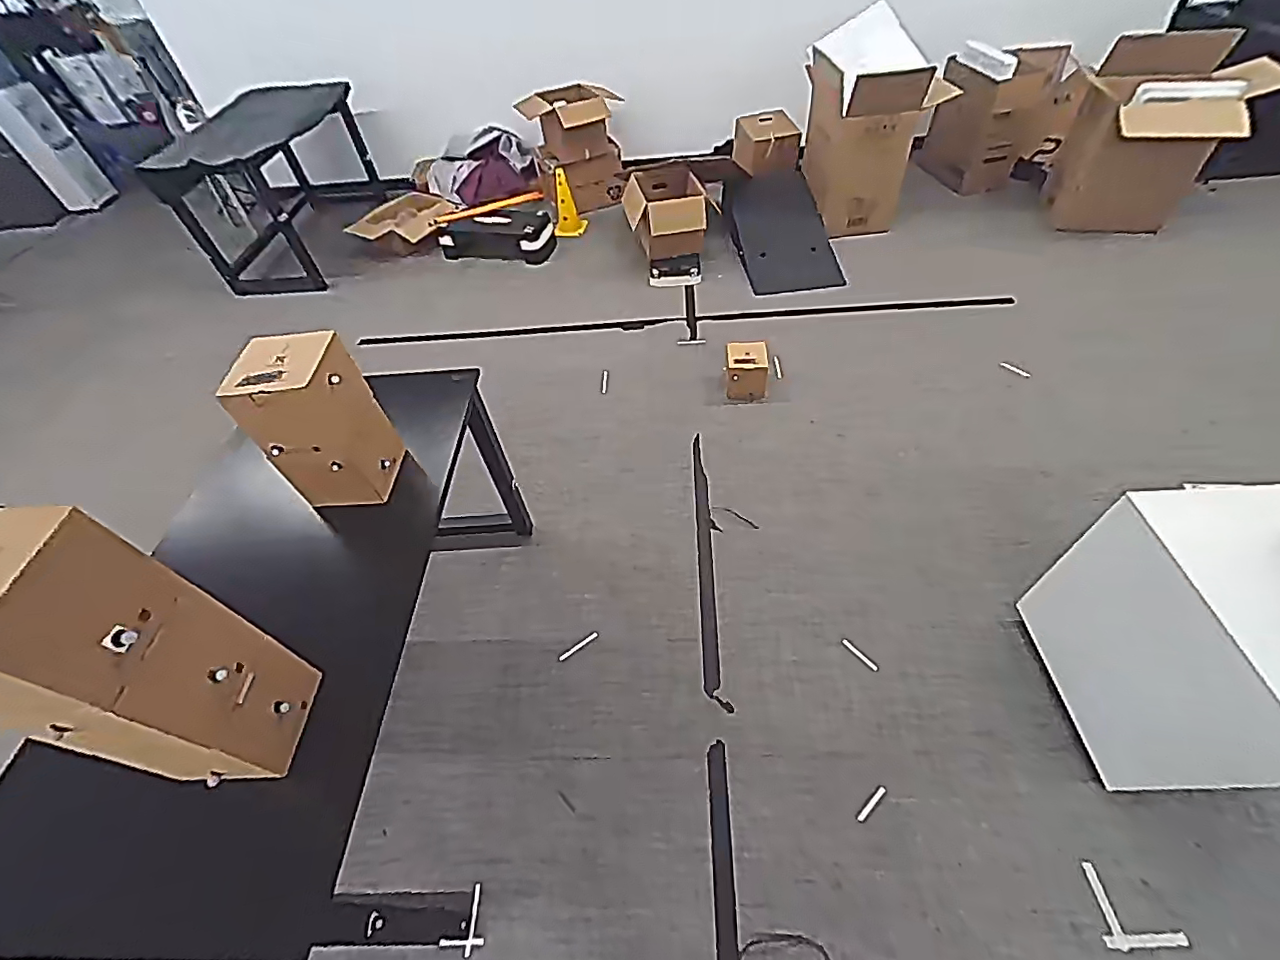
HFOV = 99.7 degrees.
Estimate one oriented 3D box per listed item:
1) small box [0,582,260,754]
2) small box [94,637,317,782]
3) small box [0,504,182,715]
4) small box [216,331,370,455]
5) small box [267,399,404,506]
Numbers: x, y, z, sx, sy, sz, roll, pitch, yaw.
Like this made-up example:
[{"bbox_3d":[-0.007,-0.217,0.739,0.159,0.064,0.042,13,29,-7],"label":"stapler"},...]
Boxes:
[{"bbox_3d":[-0.657,0.249,0.705,0.179,0.176,0.168,-3,51,3],"label":"small box"},{"bbox_3d":[-0.642,0.355,0.831,0.179,0.176,0.168,-4,50,2],"label":"small box"},{"bbox_3d":[-0.669,0.144,0.582,0.179,0.176,0.168,-4,51,2],"label":"small box"},{"bbox_3d":[-0.655,-0.162,1.050,0.168,0.176,0.179,-5,49,1],"label":"small box"},{"bbox_3d":[-0.649,-0.056,1.177,0.179,0.176,0.168,-3,50,3],"label":"small box"}]
